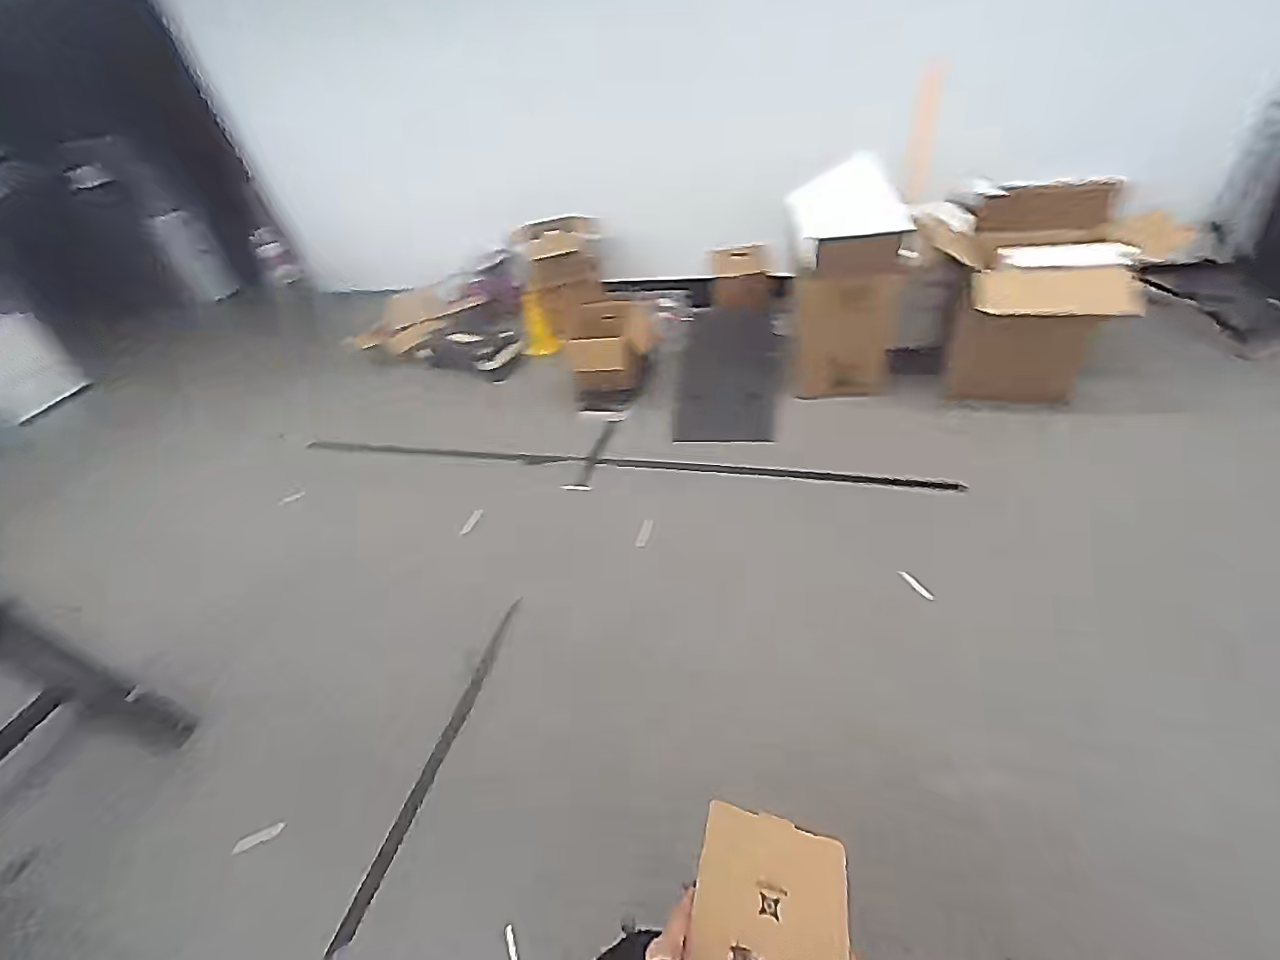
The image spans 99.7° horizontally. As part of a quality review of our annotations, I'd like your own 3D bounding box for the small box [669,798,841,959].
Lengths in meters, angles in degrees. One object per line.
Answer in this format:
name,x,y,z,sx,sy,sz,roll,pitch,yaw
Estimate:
small box,0.127,0.524,0.629,0.168,0.176,0.179,11,29,12
